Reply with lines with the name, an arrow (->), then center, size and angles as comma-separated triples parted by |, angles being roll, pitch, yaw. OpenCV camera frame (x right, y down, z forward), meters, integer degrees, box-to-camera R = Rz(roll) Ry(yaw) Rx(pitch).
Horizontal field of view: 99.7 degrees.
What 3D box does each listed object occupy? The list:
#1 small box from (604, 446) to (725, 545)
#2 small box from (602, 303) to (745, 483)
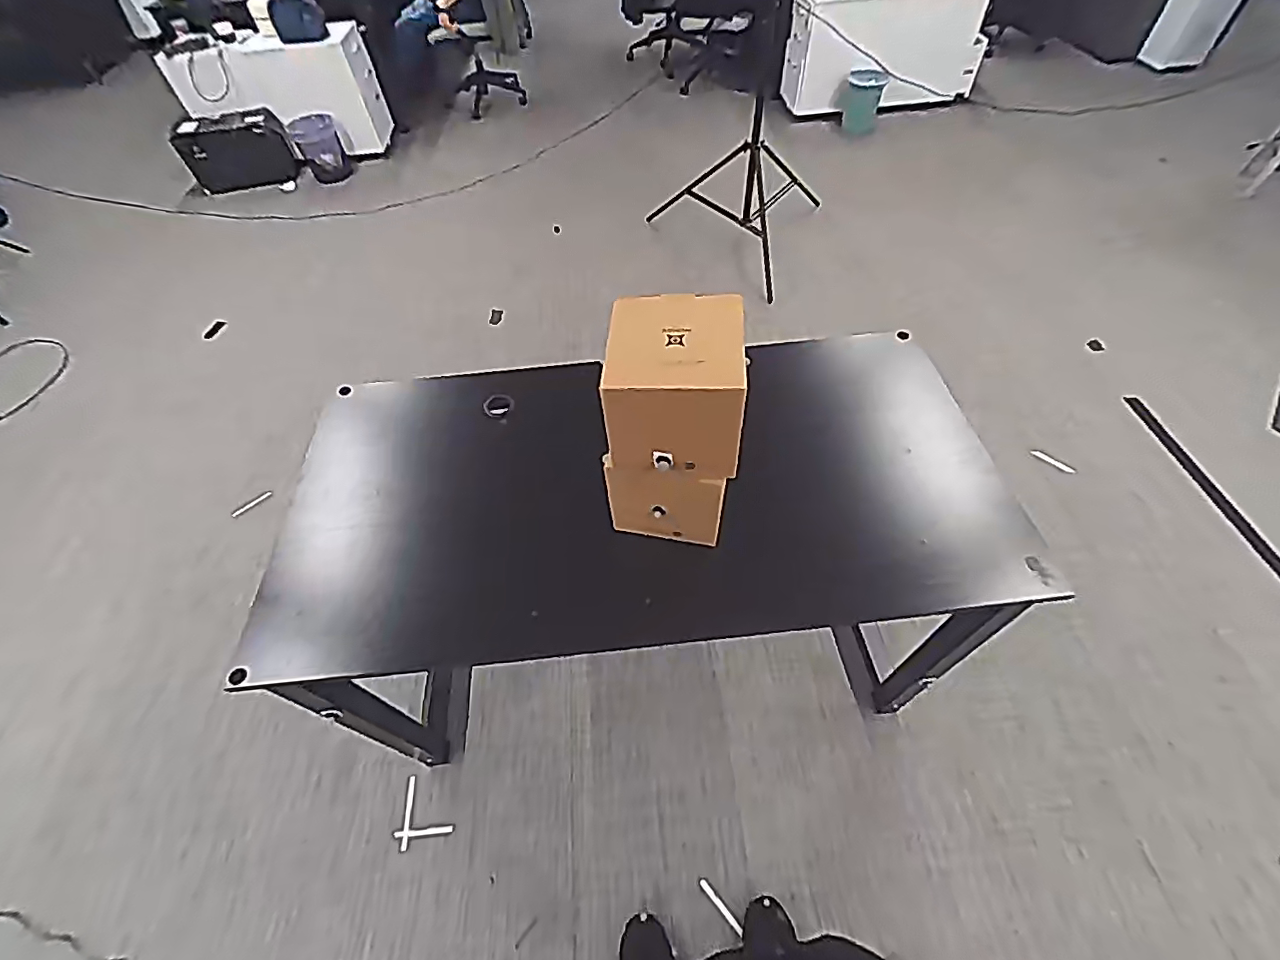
small box -> 0.052, -0.018, 0.853 | 0.168, 0.176, 0.179 | 9, 54, 10
small box -> 0.047, -0.115, 0.722 | 0.168, 0.176, 0.179 | 1, 54, 5
